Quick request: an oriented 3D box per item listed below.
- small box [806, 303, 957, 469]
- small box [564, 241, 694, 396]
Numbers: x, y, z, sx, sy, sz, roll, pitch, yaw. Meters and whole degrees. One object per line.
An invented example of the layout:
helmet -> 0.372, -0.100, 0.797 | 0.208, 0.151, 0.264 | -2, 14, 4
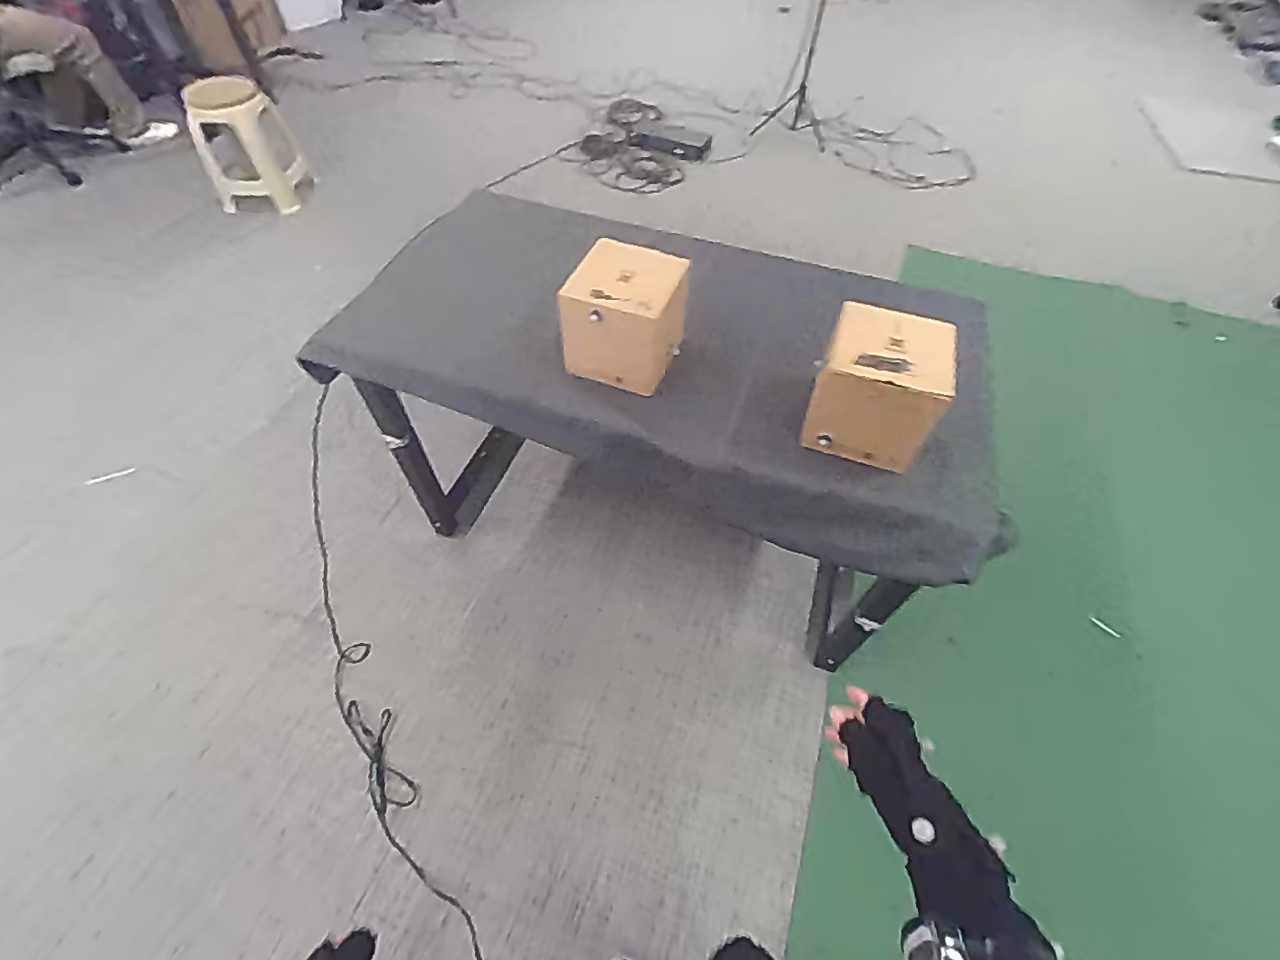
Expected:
small box -> 0.372, -0.144, 0.851 | 0.168, 0.176, 0.179 | 18, 54, 11
small box -> -0.018, -0.277, 0.937 | 0.168, 0.176, 0.179 | 18, 54, 11
